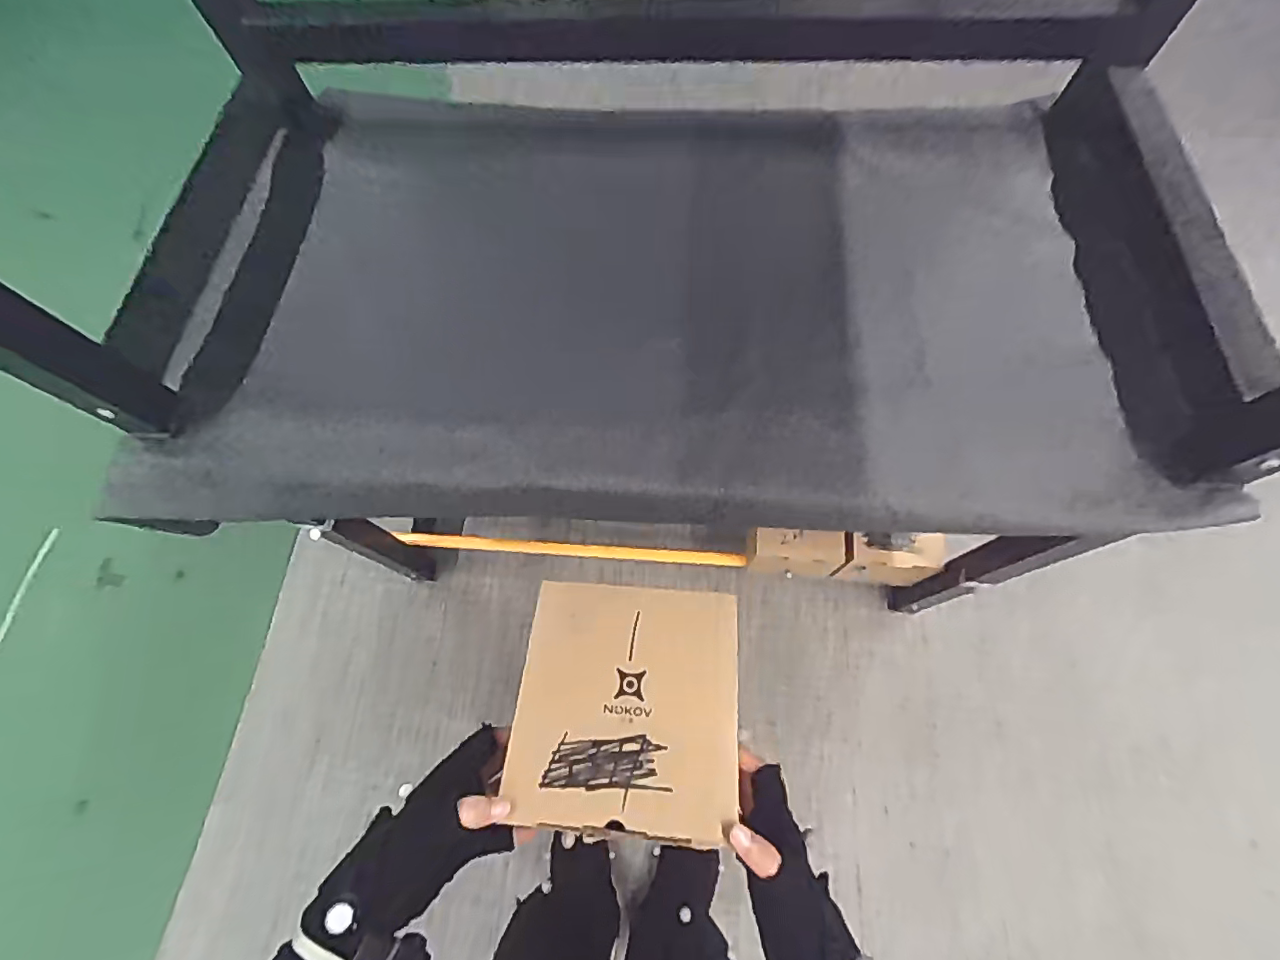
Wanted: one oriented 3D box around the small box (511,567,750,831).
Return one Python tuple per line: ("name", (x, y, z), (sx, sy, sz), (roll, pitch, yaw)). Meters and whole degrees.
("small box", (0.005, 0.195, 0.472), (0.168, 0.176, 0.179), (3, 56, 5))
